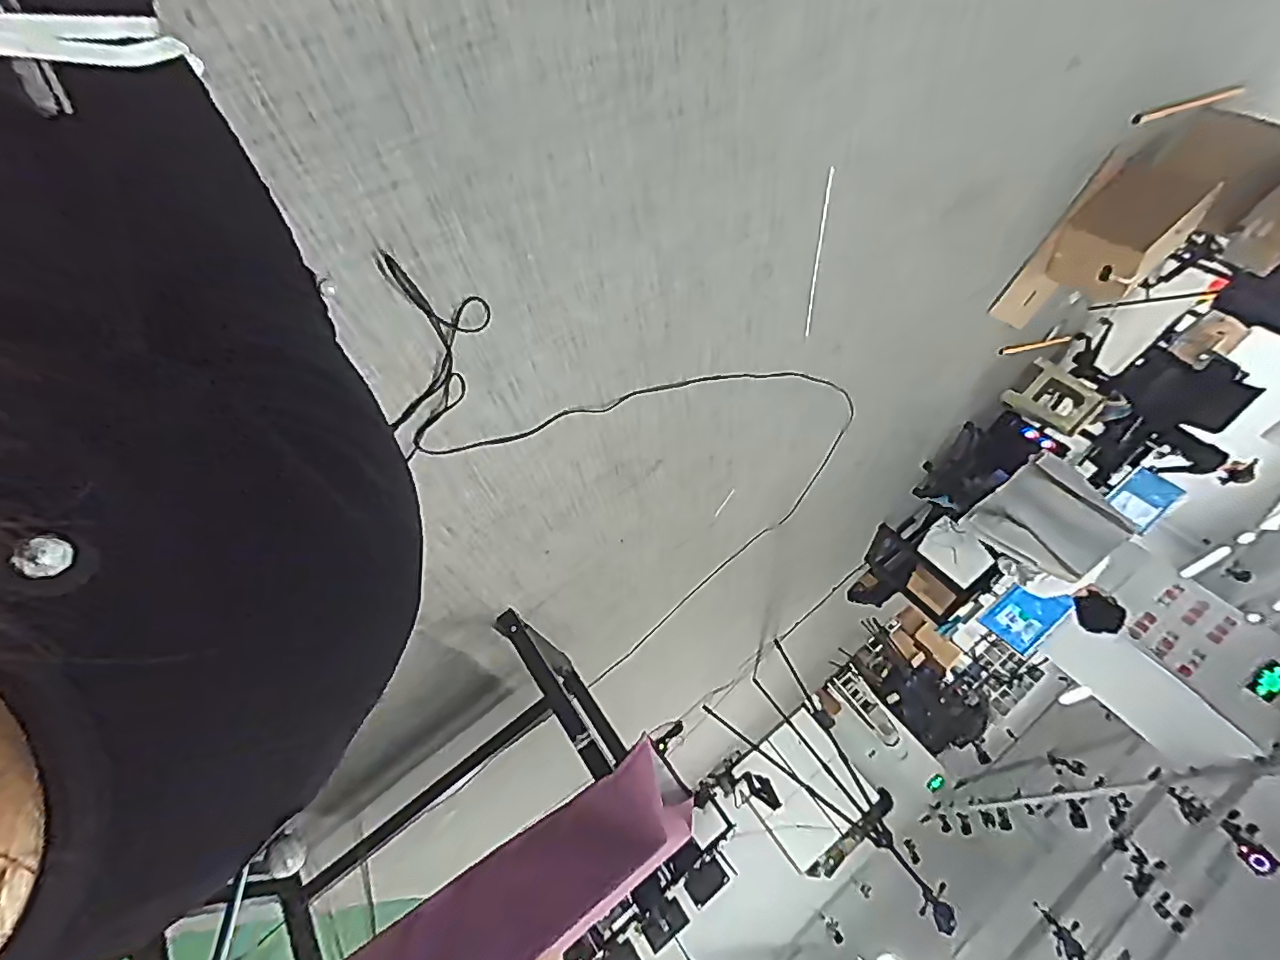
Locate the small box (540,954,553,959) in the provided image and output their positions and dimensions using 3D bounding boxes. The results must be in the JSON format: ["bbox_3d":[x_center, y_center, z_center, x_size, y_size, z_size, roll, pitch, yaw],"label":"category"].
[{"bbox_3d":[-0.250,1.223,1.211,0.179,0.176,0.168,-34,149,-14],"label":"small box"}]
